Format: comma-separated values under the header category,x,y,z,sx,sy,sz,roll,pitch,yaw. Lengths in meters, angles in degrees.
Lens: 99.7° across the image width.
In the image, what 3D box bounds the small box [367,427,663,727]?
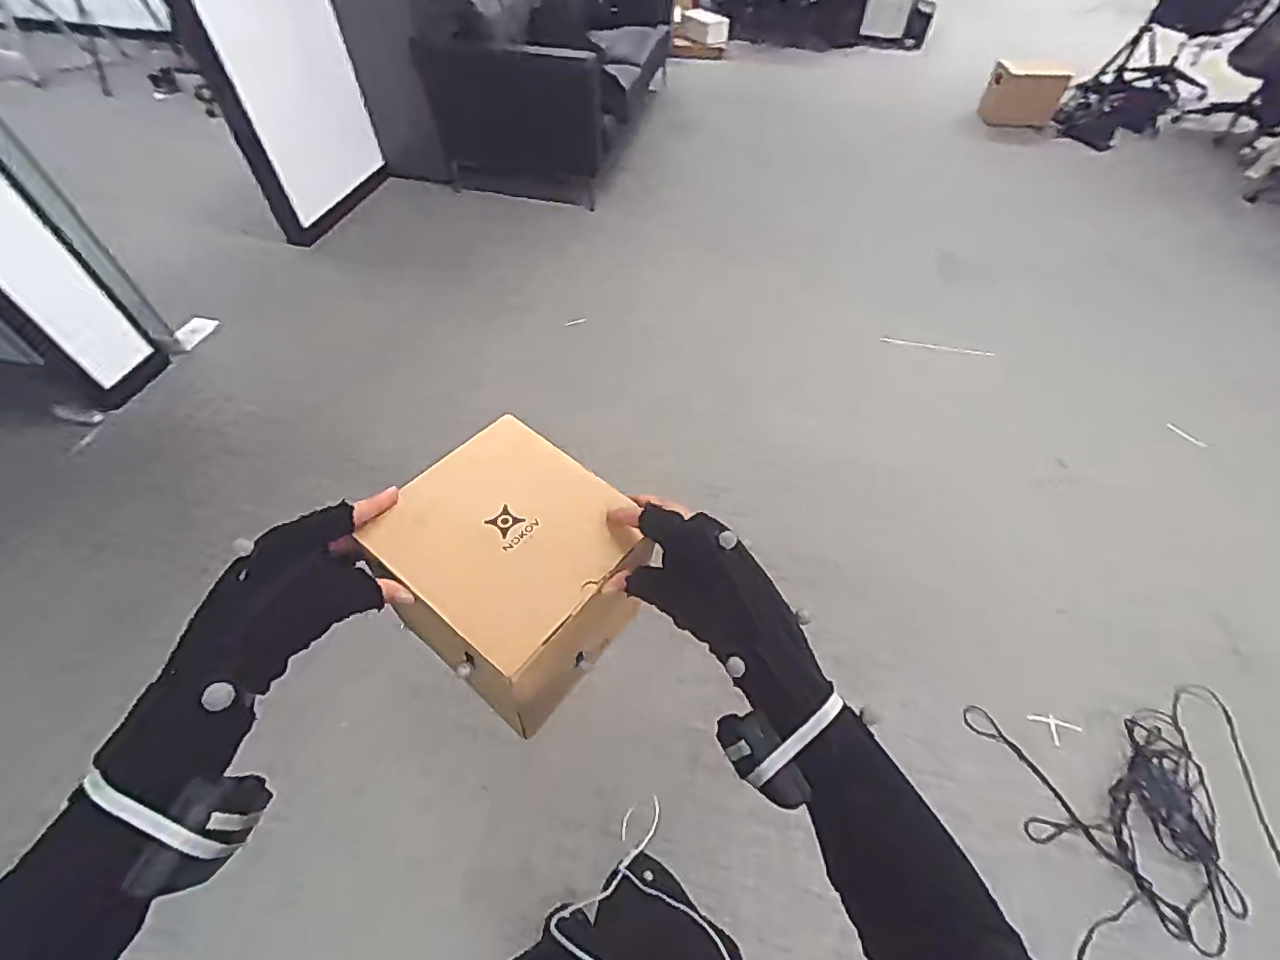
category,x,y,z,sx,sy,sz,roll,pitch,yaw
small box,-0.106,0.091,0.492,0.179,0.176,0.168,36,55,18
